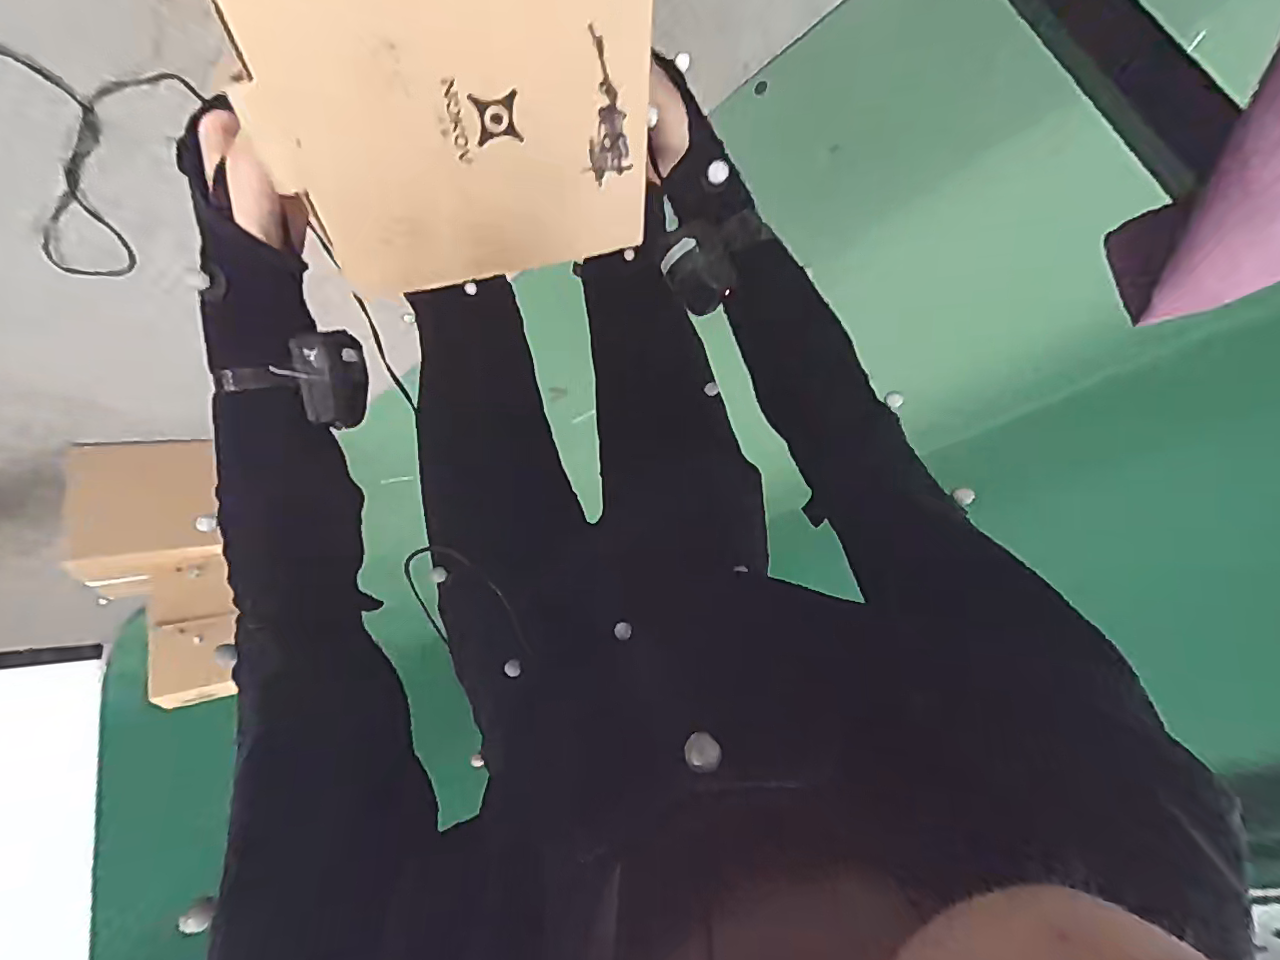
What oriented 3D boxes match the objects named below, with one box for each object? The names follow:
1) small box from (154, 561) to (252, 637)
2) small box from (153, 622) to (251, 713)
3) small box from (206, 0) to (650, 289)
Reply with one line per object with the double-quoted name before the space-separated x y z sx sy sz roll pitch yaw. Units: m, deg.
"small box" -1.130 0.322 1.412 0.168 0.176 0.179 -7 157 -26
"small box" -1.079 0.463 1.345 0.168 0.176 0.179 -6 156 -31
"small box" -0.104 -0.236 0.293 0.179 0.176 0.168 -15 148 -12
